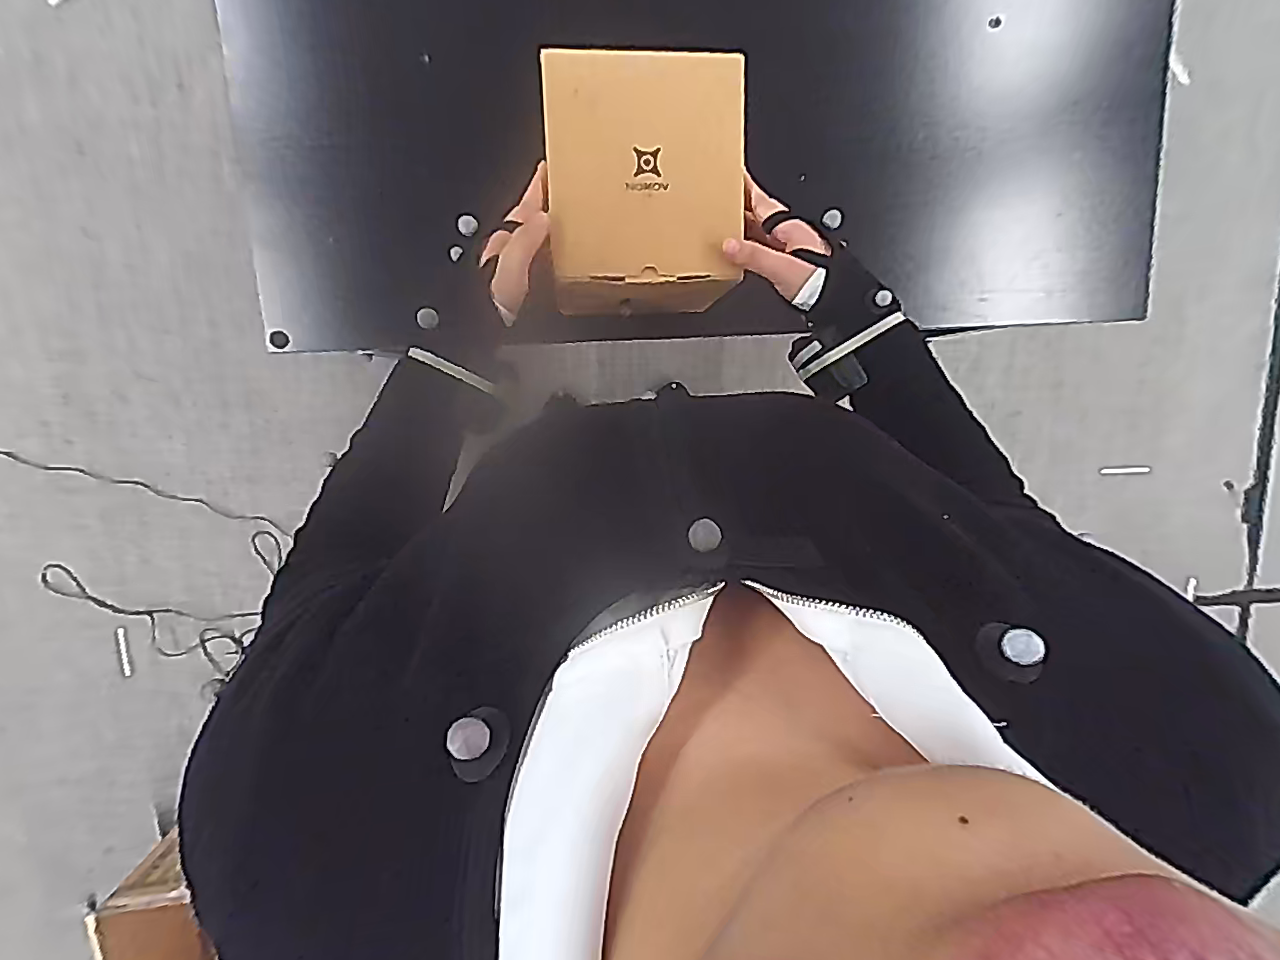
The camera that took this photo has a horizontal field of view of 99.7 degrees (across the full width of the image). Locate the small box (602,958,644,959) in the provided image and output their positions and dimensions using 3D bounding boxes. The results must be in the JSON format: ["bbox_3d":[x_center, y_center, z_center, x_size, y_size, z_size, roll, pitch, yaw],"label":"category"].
[{"bbox_3d":[-0.046,1.582,1.619,0.168,0.176,0.179,1,97,-5],"label":"small box"}]

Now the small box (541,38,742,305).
[{"bbox_3d":[-0.006,-0.273,0.520,0.168,0.176,0.179,-2,99,-5],"label":"small box"}]
